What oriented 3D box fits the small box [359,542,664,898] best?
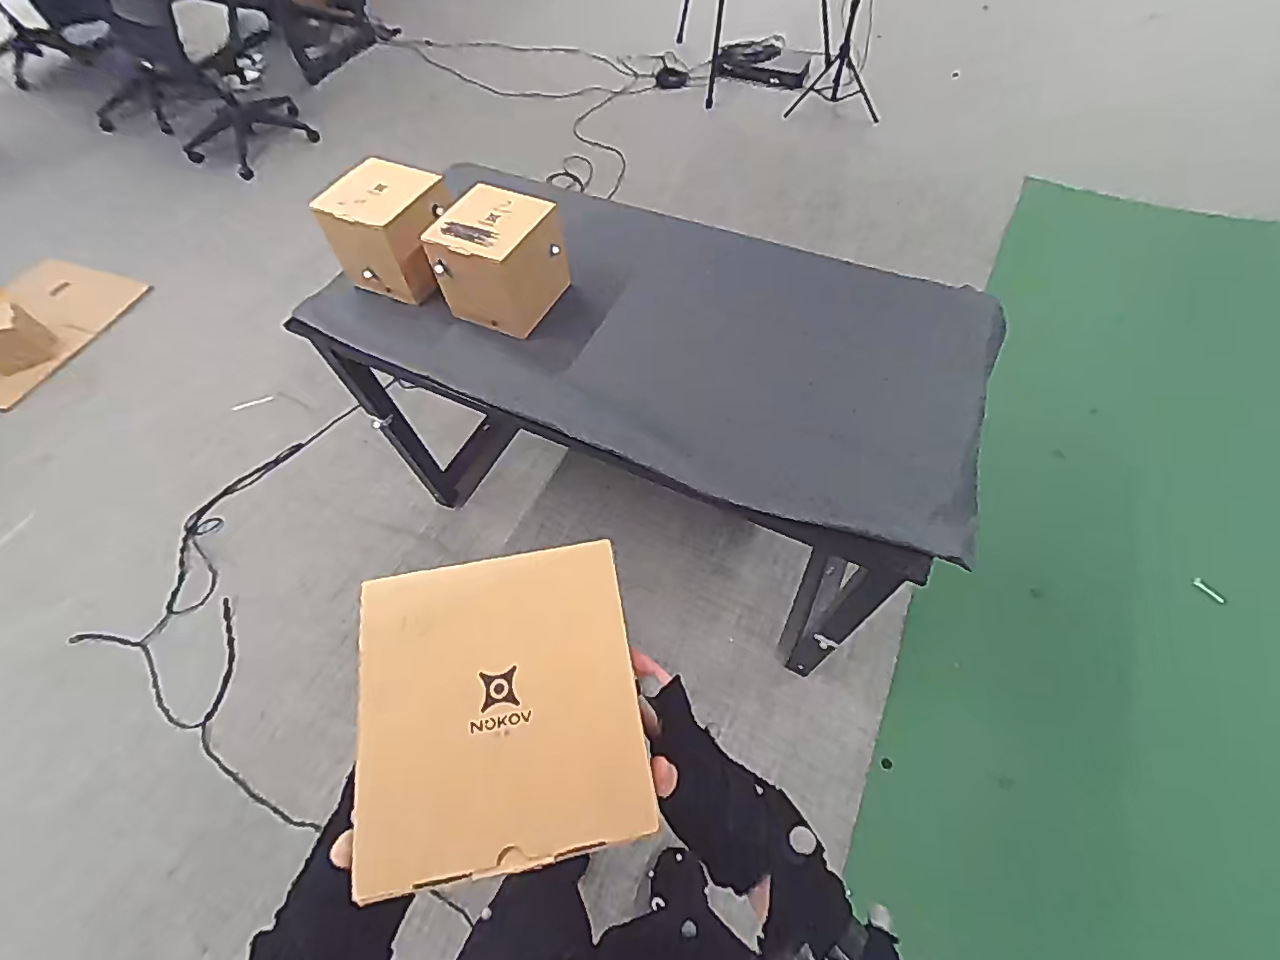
[{"bbox_3d":[-0.086,0.164,0.398,0.168,0.176,0.179,-9,66,-7],"label":"small box"}]

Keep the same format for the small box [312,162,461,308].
[{"bbox_3d":[-0.467,-0.466,1.033,0.168,0.176,0.179,21,61,13],"label":"small box"}]
